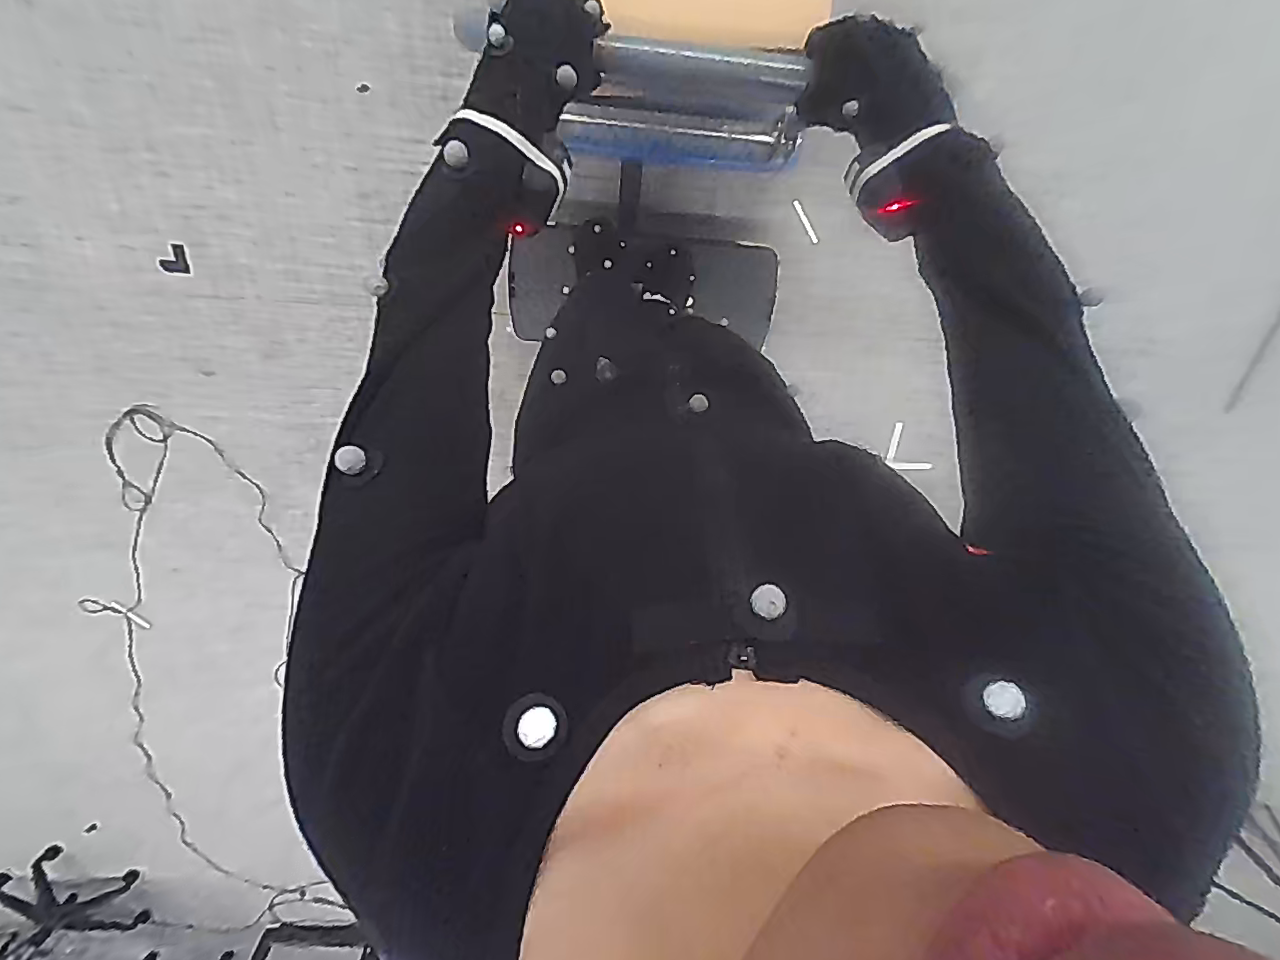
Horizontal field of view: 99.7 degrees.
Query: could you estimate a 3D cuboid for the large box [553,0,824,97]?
[{"bbox_3d":[0.060,-0.845,0.879,0.408,0.320,0.320,-2,115,-3],"label":"large box"}]
